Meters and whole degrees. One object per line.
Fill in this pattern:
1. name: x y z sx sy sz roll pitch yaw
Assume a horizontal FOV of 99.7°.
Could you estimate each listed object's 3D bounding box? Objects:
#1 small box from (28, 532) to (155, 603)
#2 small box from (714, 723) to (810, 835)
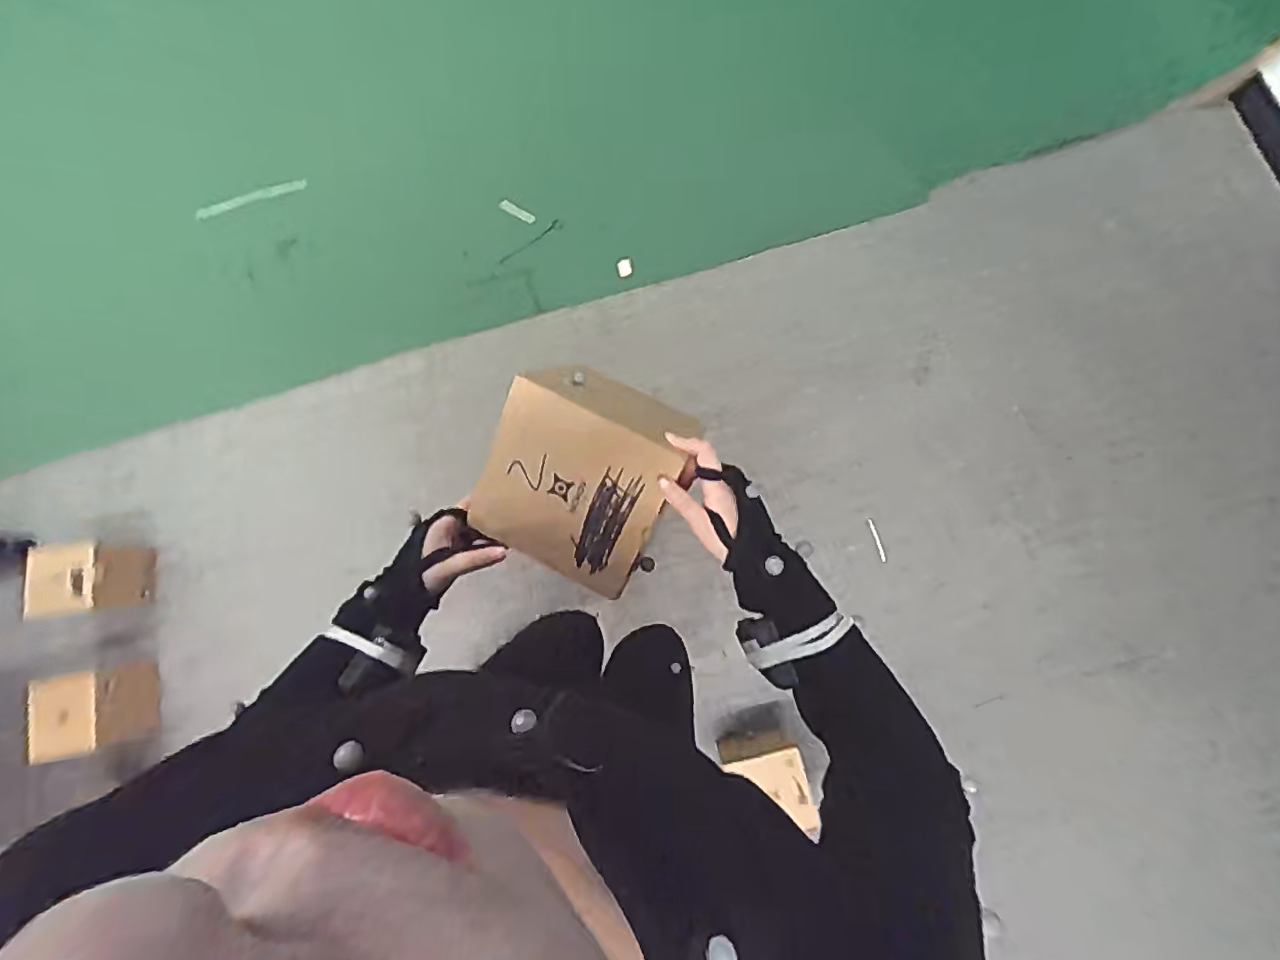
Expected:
1. small box: -1.437 0.229 1.428 0.179 0.176 0.168 -7 80 2
2. small box: 0.275 0.691 1.267 0.179 0.176 0.168 -13 81 1
